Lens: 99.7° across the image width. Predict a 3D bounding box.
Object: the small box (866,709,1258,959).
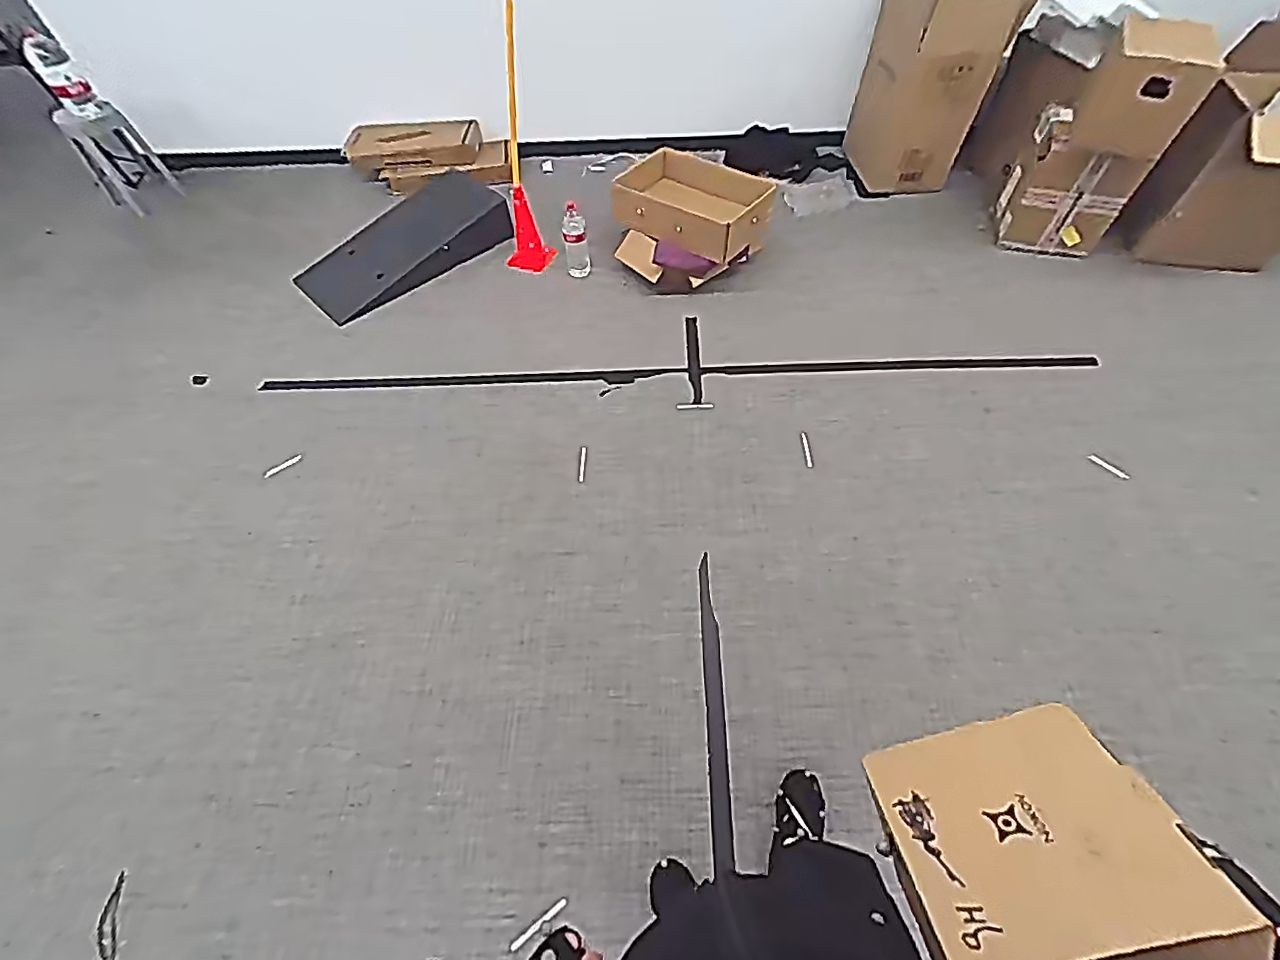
[{"bbox_3d":[0.308,0.323,0.429,0.179,0.176,0.168,-19,21,8],"label":"small box"}]
